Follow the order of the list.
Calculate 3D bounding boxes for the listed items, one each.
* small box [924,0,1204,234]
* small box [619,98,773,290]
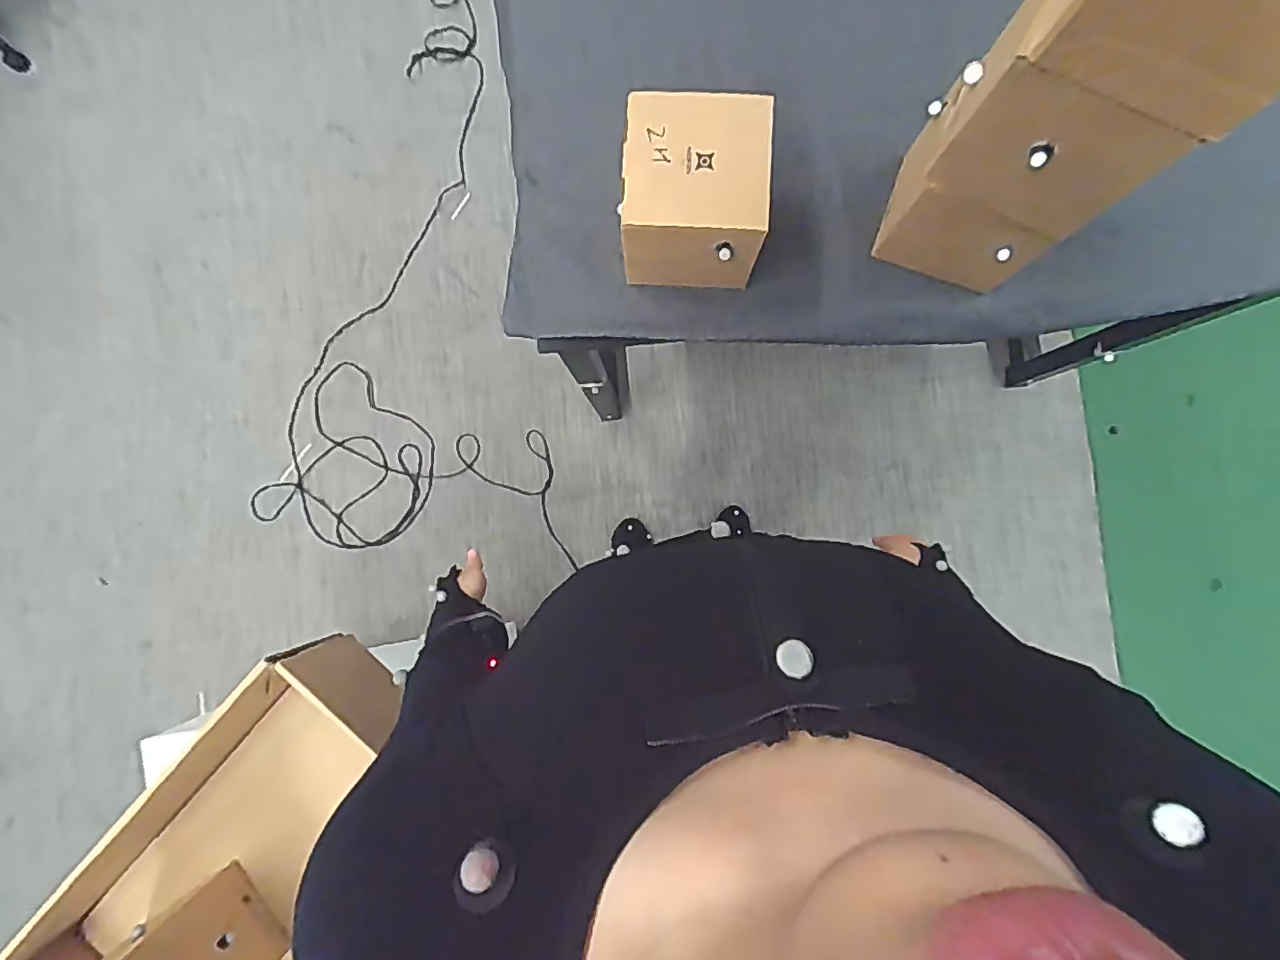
[{"bbox_3d":[0.431,-0.381,0.540,0.179,0.176,0.168,28,87,5],"label":"small box"},{"bbox_3d":[0.068,-0.365,0.718,0.179,0.176,0.168,3,87,3],"label":"small box"}]
